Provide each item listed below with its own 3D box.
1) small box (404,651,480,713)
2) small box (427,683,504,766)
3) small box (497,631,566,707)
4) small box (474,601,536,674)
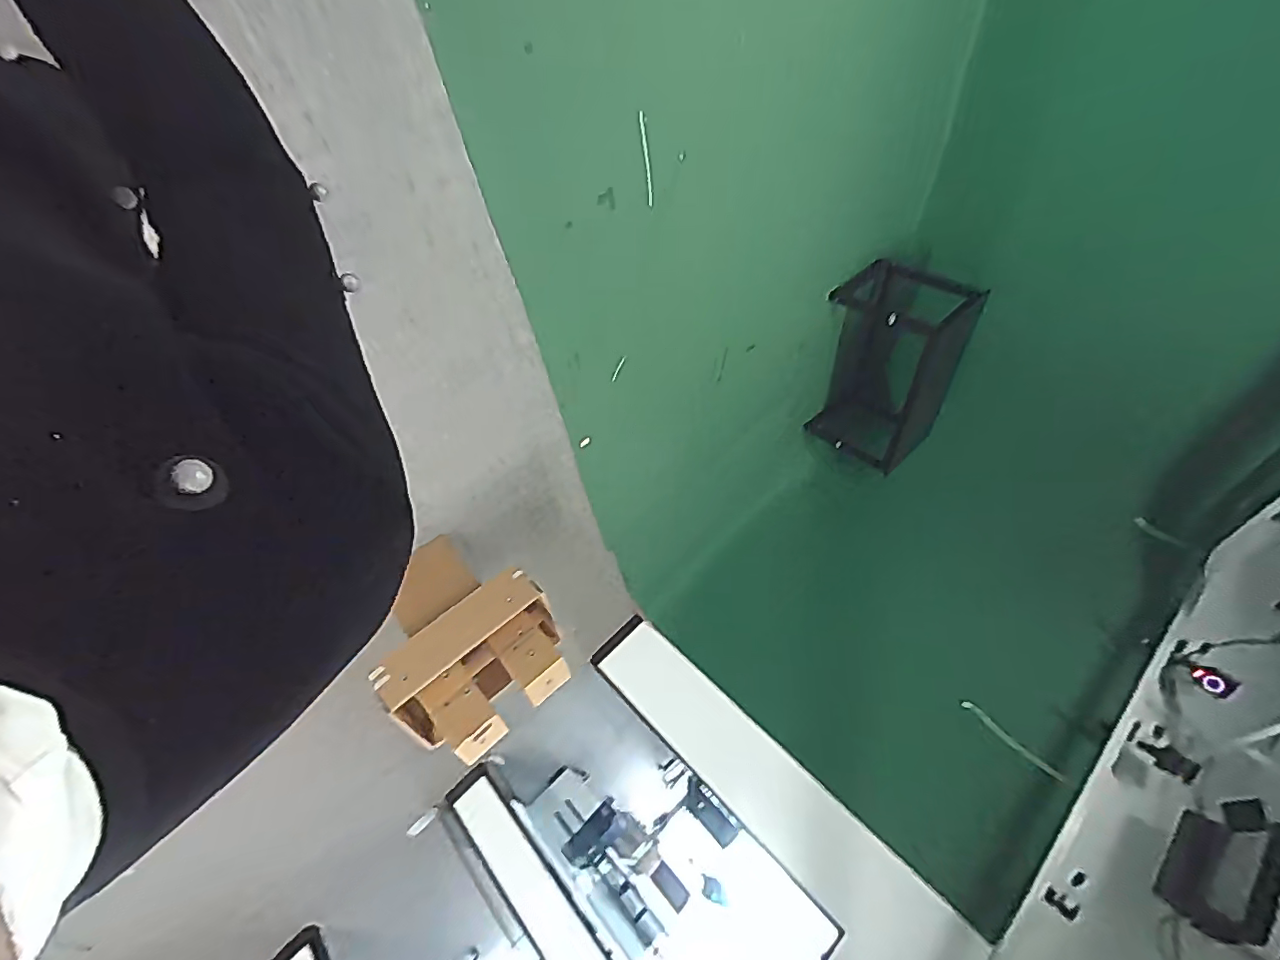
[{"bbox_3d":[-0.706,0.739,1.925,0.168,0.176,0.179,-37,145,-25],"label":"small box"},{"bbox_3d":[-0.594,0.825,1.839,0.168,0.176,0.179,-36,145,-24],"label":"small box"},{"bbox_3d":[-0.392,0.673,1.950,0.168,0.176,0.179,-35,144,-25],"label":"small box"},{"bbox_3d":[-0.500,0.593,2.044,0.168,0.176,0.179,-36,145,-27],"label":"small box"}]
